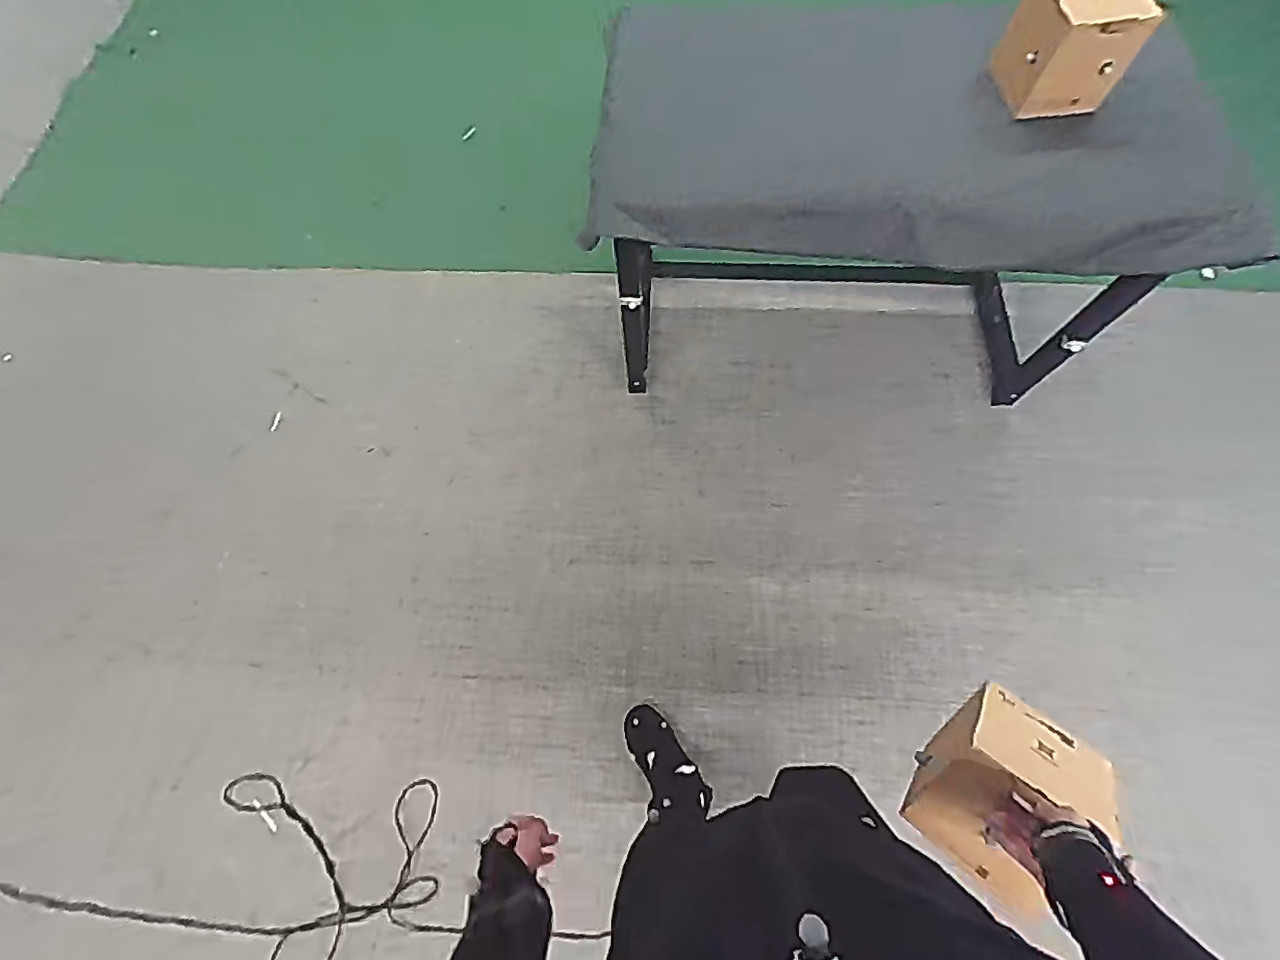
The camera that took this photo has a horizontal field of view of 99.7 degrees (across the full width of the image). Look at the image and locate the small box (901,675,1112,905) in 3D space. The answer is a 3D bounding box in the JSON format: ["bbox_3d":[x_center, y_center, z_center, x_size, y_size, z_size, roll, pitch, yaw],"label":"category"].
[{"bbox_3d":[0.483,0.409,0.726,0.168,0.176,0.179,38,32,26],"label":"small box"}]

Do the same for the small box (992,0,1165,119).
[{"bbox_3d":[0.827,-0.828,1.042,0.168,0.176,0.179,-5,67,-2],"label":"small box"}]
